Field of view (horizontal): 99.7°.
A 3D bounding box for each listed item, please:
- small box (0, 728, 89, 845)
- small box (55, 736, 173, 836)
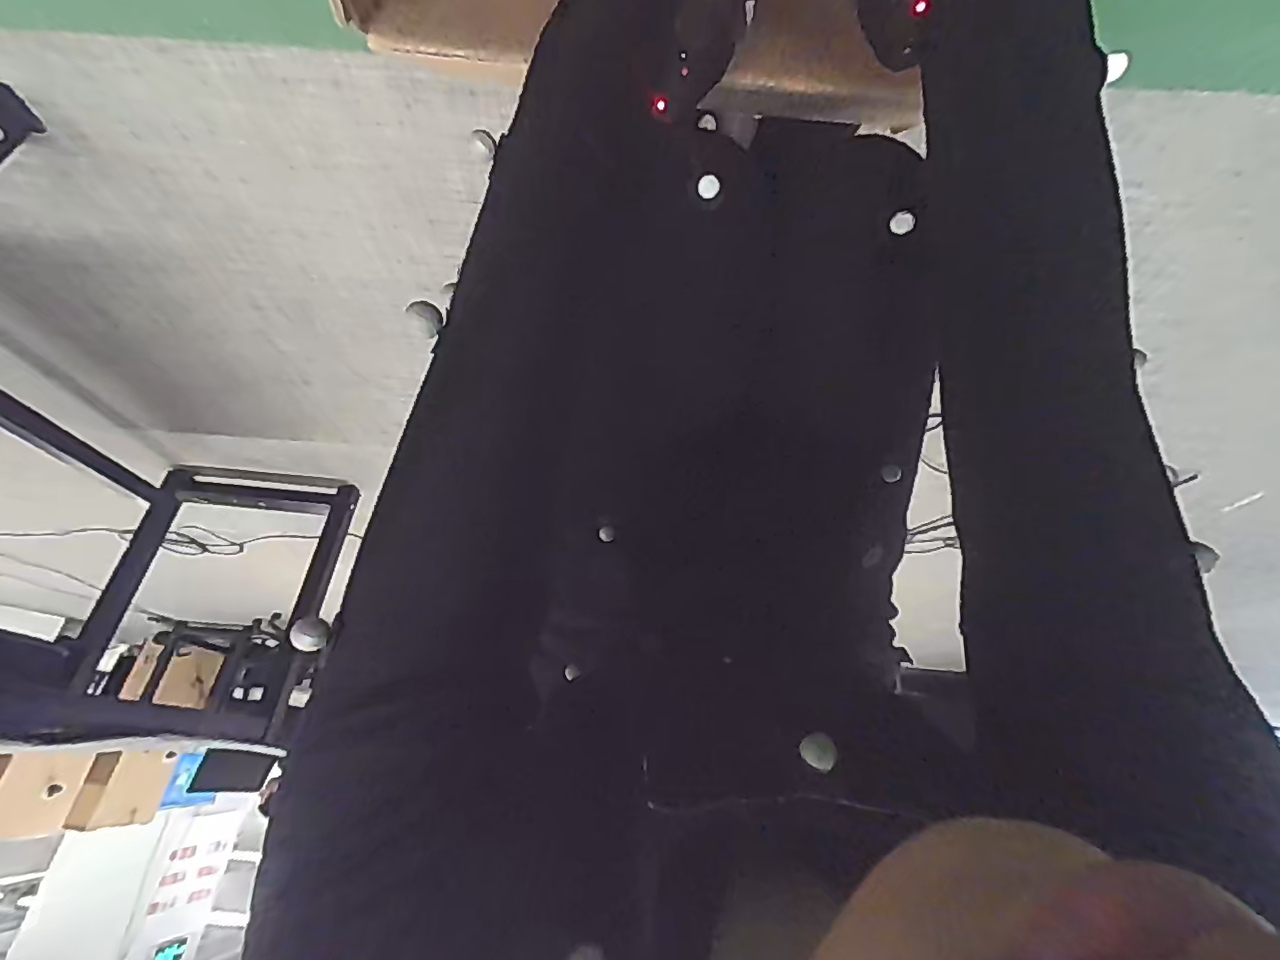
[{"bbox_3d":[-1.150,0.539,0.959,0.179,0.176,0.168,6,151,0],"label":"small box"},{"bbox_3d":[-1.167,0.653,1.165,0.179,0.176,0.168,4,151,3],"label":"small box"}]
